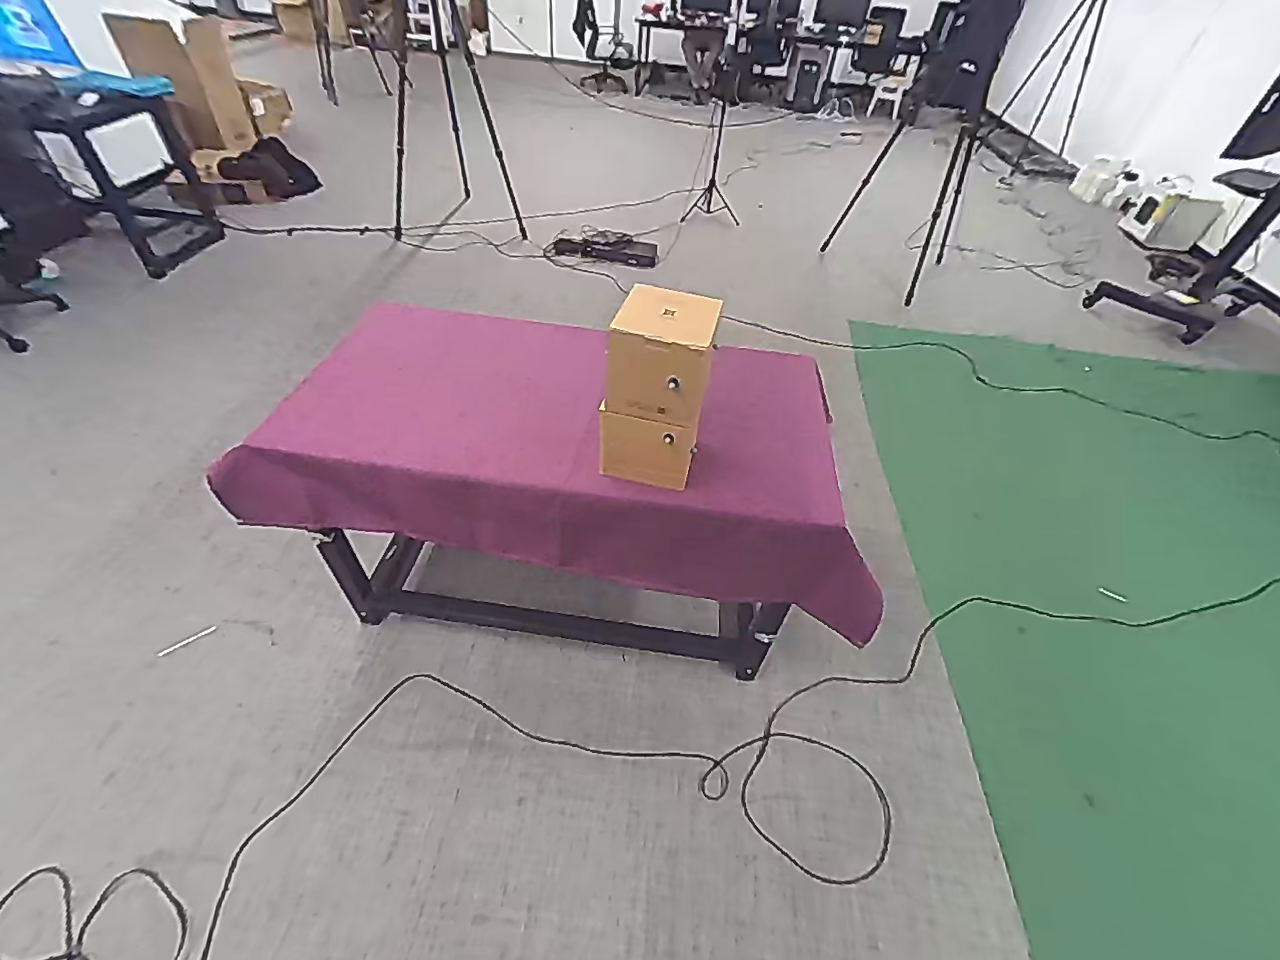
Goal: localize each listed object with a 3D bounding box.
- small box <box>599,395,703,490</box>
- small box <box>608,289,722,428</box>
[{"bbox_3d":[0.021,-0.102,1.091,0.179,0.176,0.168,13,44,6],"label":"small box"},{"bbox_3d":[0.042,-0.219,0.980,0.168,0.176,0.179,15,44,7],"label":"small box"}]
